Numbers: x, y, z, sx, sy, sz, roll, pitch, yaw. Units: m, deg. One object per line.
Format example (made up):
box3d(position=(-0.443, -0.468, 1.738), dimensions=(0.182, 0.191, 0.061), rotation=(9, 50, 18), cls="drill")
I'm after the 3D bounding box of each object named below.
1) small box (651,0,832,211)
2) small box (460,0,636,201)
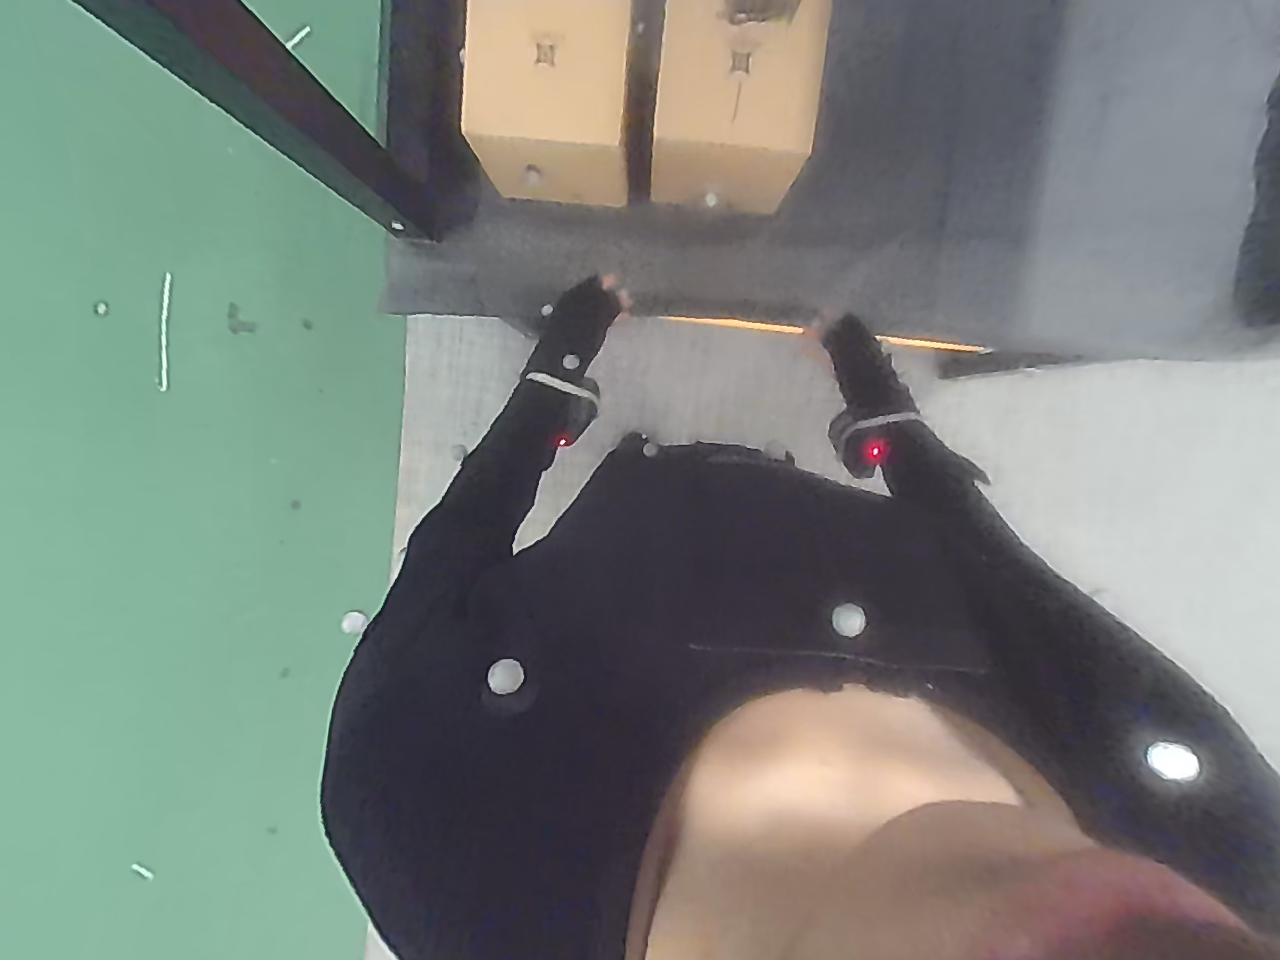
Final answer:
box3d(position=(0.103, -0.437, 0.616), dimensions=(0.168, 0.176, 0.179), rotation=(7, 97, 1), cls="small box")
box3d(position=(-0.094, -0.443, 0.619), dimensions=(0.168, 0.176, 0.179), rotation=(5, 96, 0), cls="small box")
